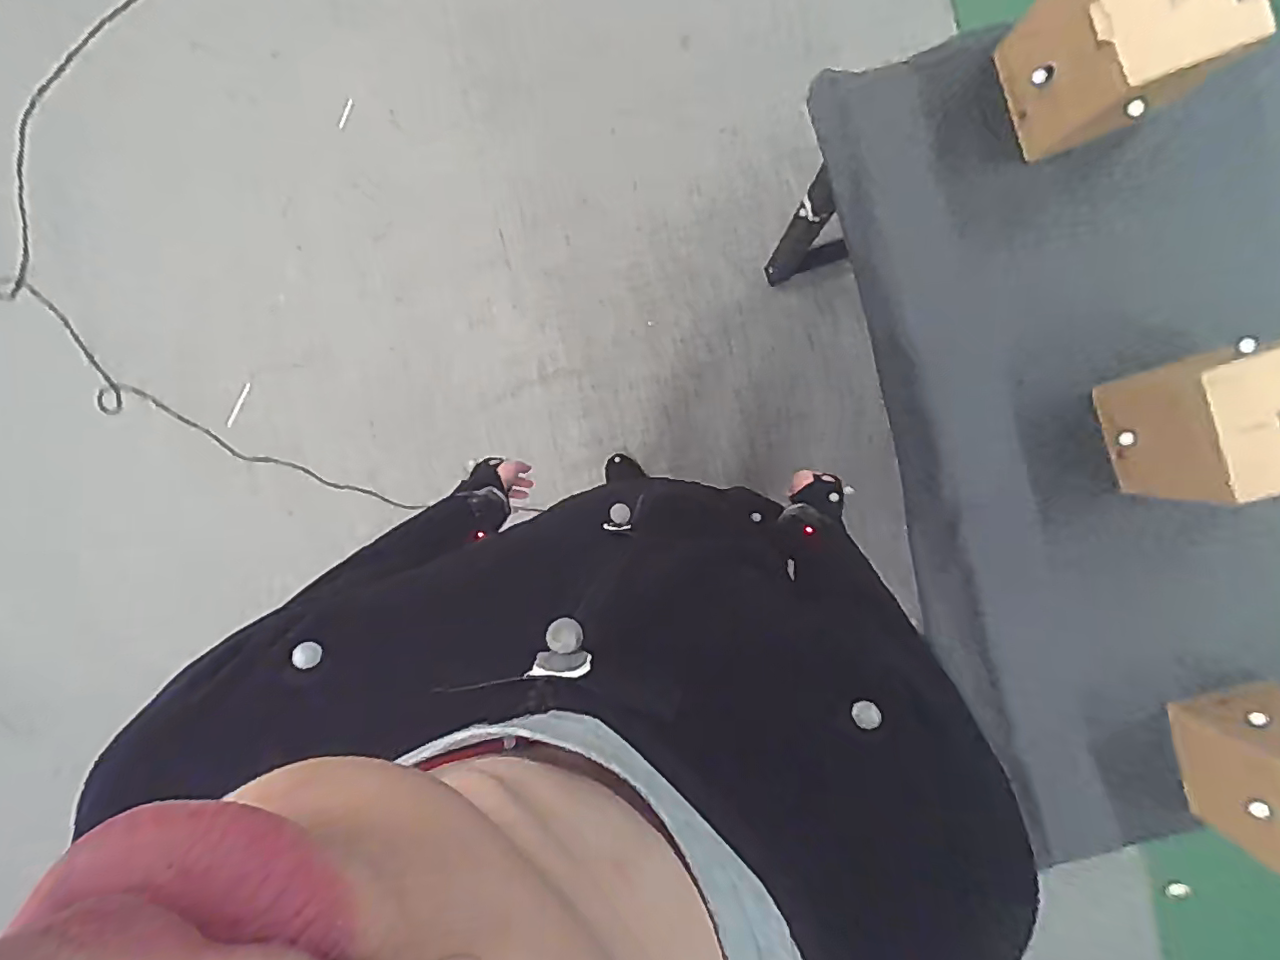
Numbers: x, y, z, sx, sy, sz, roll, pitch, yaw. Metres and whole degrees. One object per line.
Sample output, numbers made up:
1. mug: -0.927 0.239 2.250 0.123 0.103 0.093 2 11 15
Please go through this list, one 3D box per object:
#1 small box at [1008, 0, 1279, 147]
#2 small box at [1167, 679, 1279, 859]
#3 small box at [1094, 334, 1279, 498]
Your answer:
1. small box: 0.602 -0.561 0.677 0.179 0.176 0.168 -20 93 4
2. small box: 0.878 0.391 0.733 0.168 0.176 0.179 -15 94 5
3. small box: 0.758 -0.087 0.704 0.179 0.176 0.168 -18 93 5
